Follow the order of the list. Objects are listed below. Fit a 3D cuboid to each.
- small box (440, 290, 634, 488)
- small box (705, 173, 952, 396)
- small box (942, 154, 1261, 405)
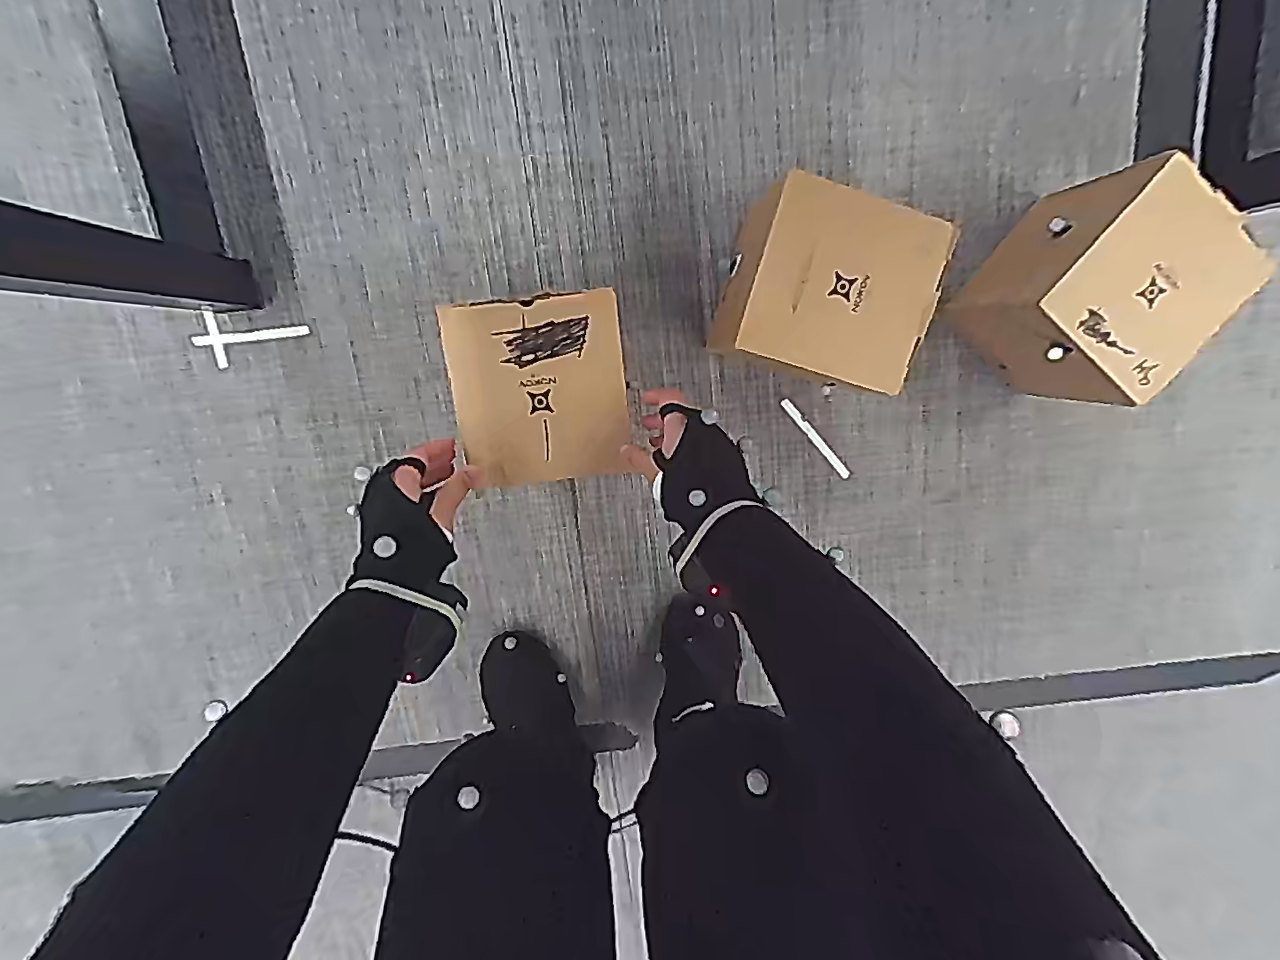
[{"bbox_3d":[-0.100,-0.102,0.594,0.168,0.176,0.179,-7,105,-1],"label":"small box"},{"bbox_3d":[0.185,-0.198,0.590,0.179,0.176,0.168,15,101,-6],"label":"small box"},{"bbox_3d":[0.488,-0.208,0.602,0.168,0.176,0.179,37,98,-10],"label":"small box"}]
